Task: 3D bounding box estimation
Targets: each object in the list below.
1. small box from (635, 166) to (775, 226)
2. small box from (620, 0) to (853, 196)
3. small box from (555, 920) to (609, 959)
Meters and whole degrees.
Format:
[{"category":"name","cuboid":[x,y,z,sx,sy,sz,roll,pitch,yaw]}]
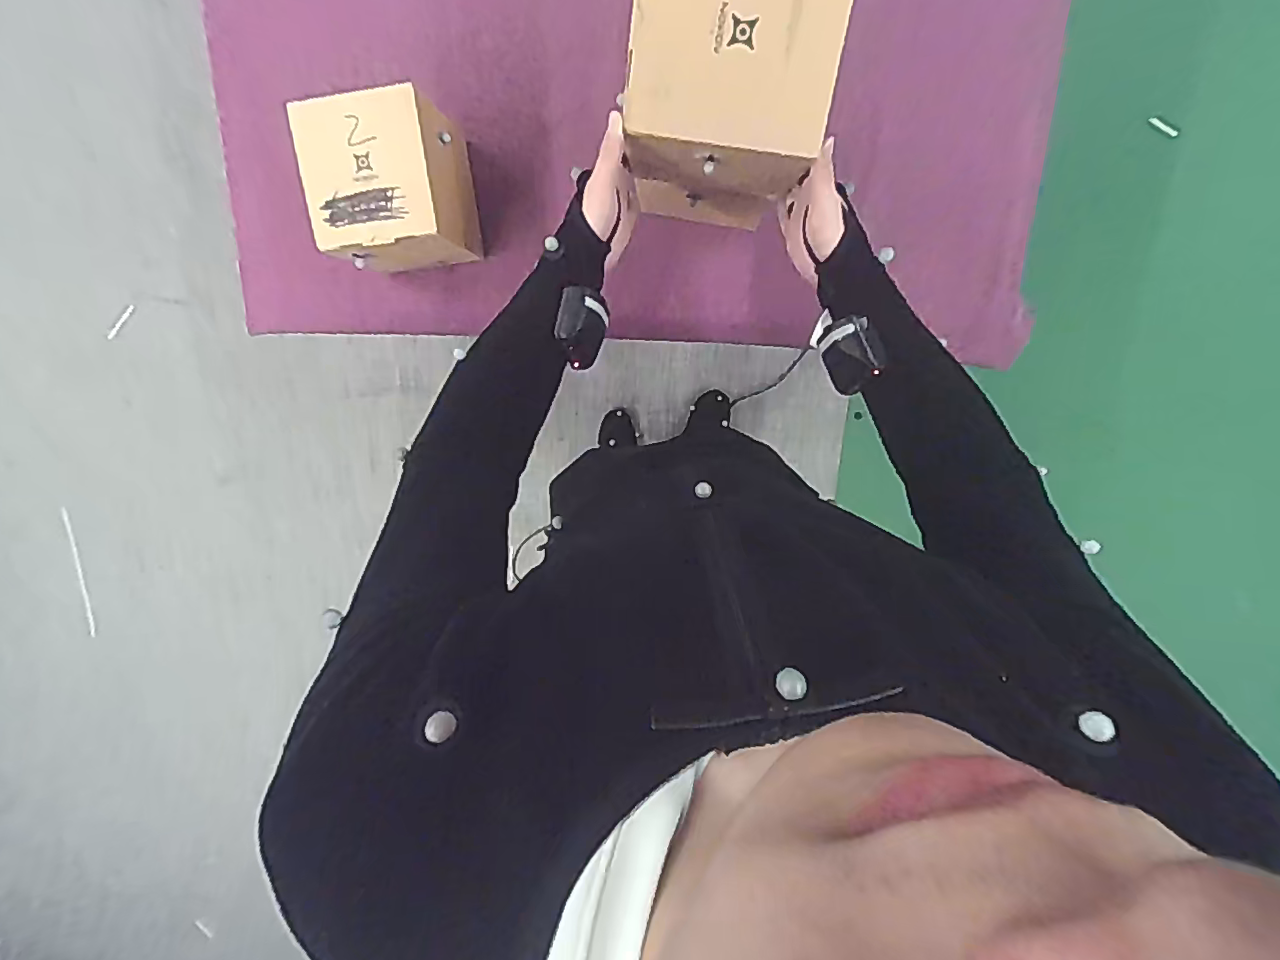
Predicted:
[{"category":"small box","cuboid":[0.097,-0.450,0.716,0.179,0.176,0.168,9,104,1]},{"category":"small box","cuboid":[0.084,-0.385,0.518,0.179,0.176,0.168,8,108,0]},{"category":"small box","cuboid":[-0.218,1.775,1.994,0.179,0.176,0.168,6,104,2]}]
